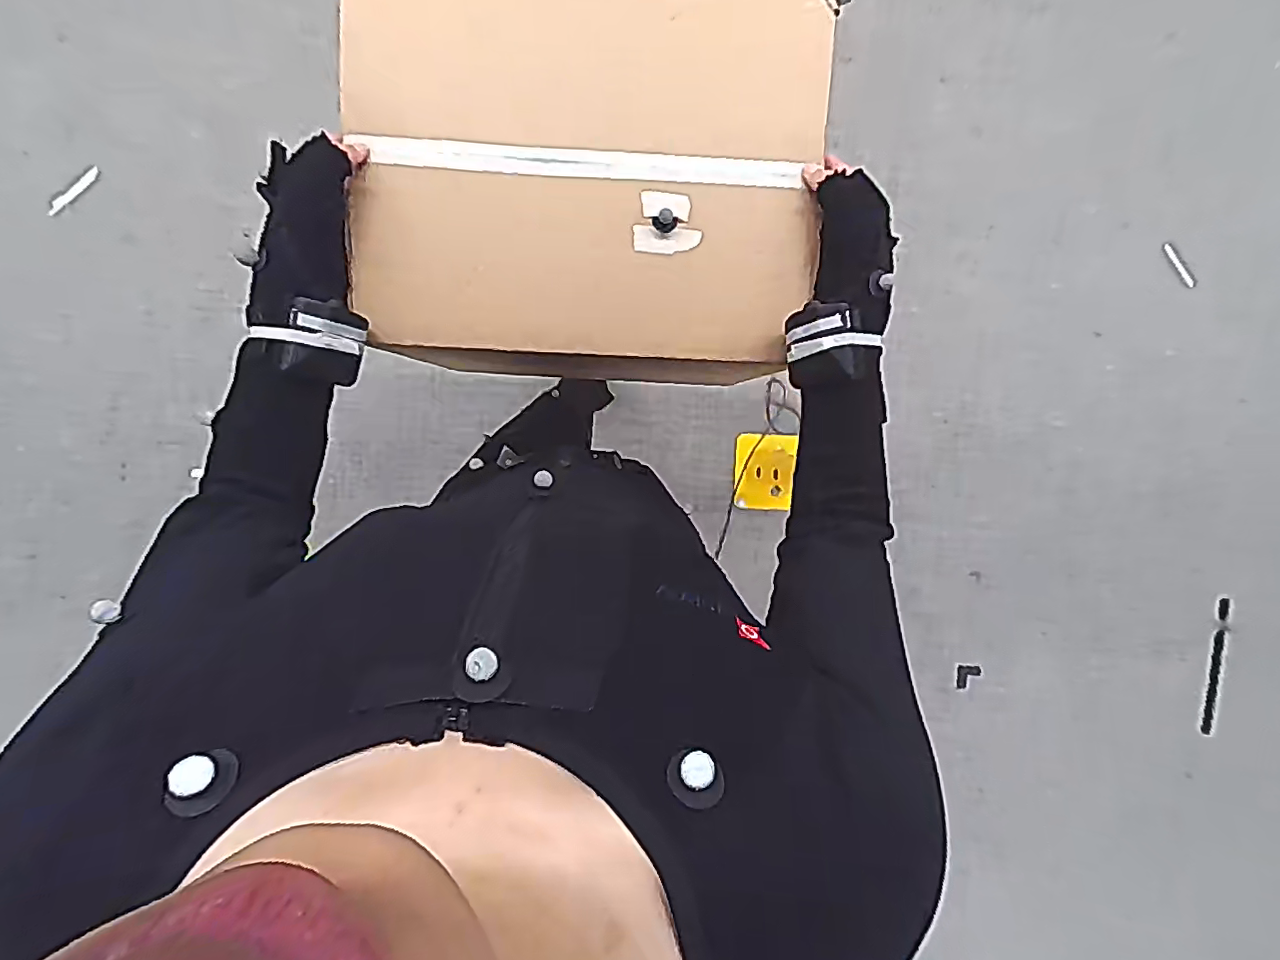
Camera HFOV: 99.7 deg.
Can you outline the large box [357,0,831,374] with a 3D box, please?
[{"bbox_3d":[-0.048,-0.294,0.613,0.408,0.320,0.320,2,97,-4],"label":"large box"}]
